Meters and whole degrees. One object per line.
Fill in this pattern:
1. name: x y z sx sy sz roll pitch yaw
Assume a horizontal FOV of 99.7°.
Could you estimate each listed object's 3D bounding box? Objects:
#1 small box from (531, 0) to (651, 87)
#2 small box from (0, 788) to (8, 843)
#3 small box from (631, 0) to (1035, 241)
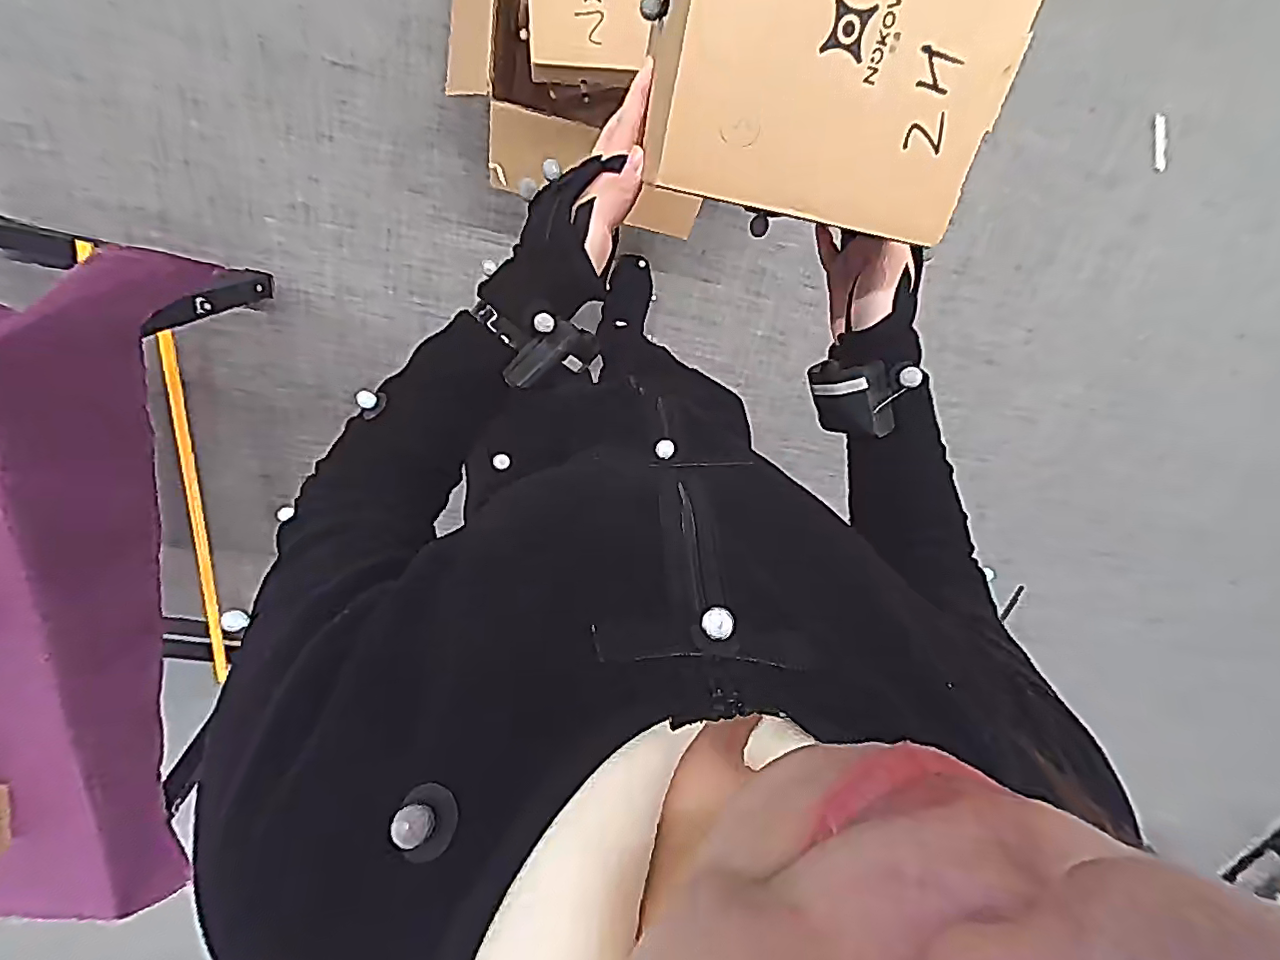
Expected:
1. small box: -0.086 -0.761 0.881 0.179 0.176 0.168 -11 120 -4
2. small box: -1.160 0.585 0.843 0.179 0.176 0.168 21 112 -16
3. small box: 0.096 -0.260 0.333 0.179 0.176 0.168 7 120 -11
